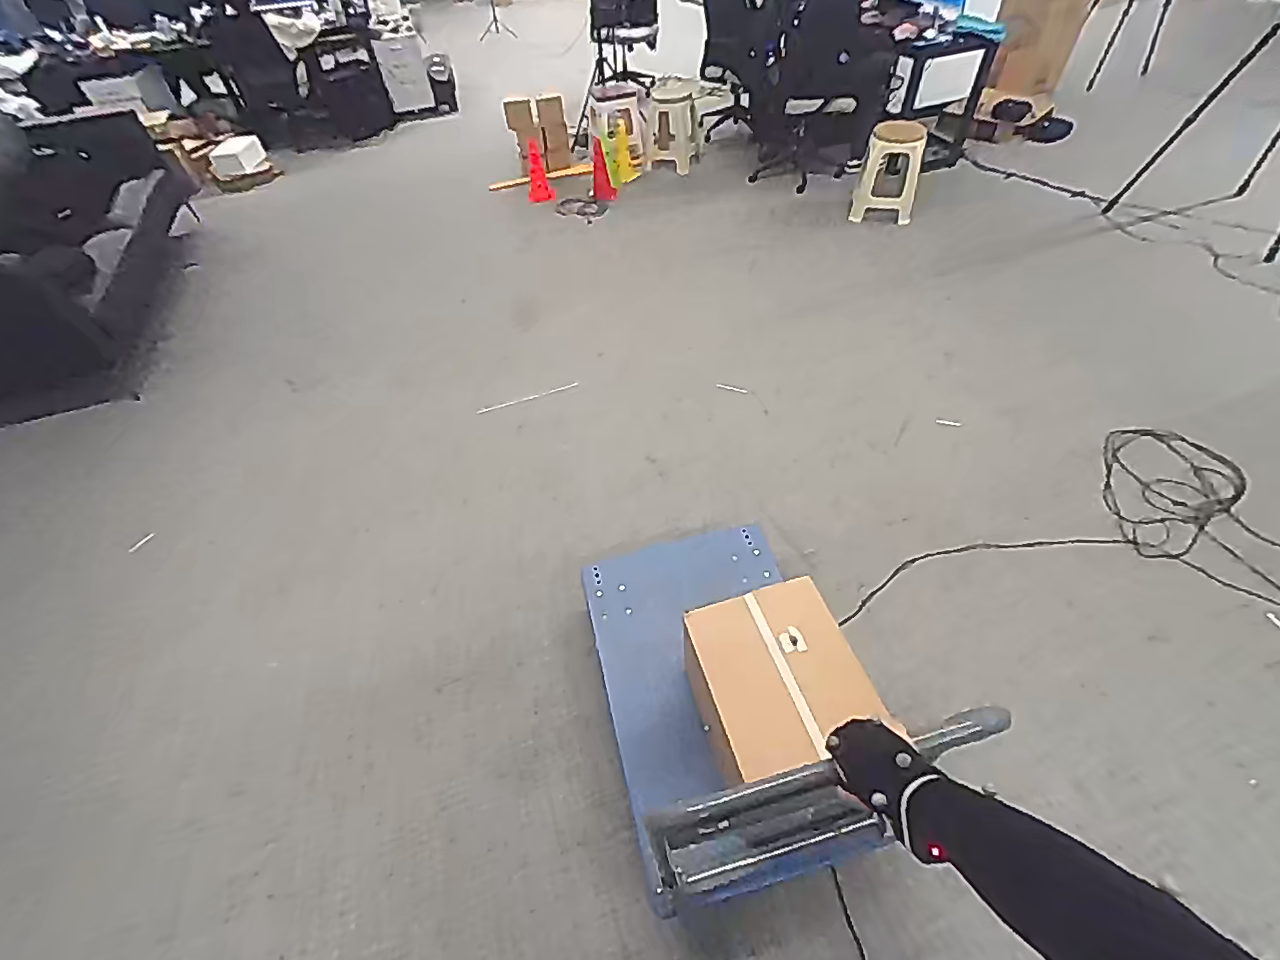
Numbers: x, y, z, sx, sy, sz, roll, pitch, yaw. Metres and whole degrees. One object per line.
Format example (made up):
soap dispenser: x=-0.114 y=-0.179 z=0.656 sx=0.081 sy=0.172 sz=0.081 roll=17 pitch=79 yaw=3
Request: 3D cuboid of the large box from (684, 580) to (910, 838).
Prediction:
large box: x=0.315 y=0.509 z=1.219 sx=0.320 sy=0.320 sz=0.408 roll=-15 pitch=49 yaw=-8
